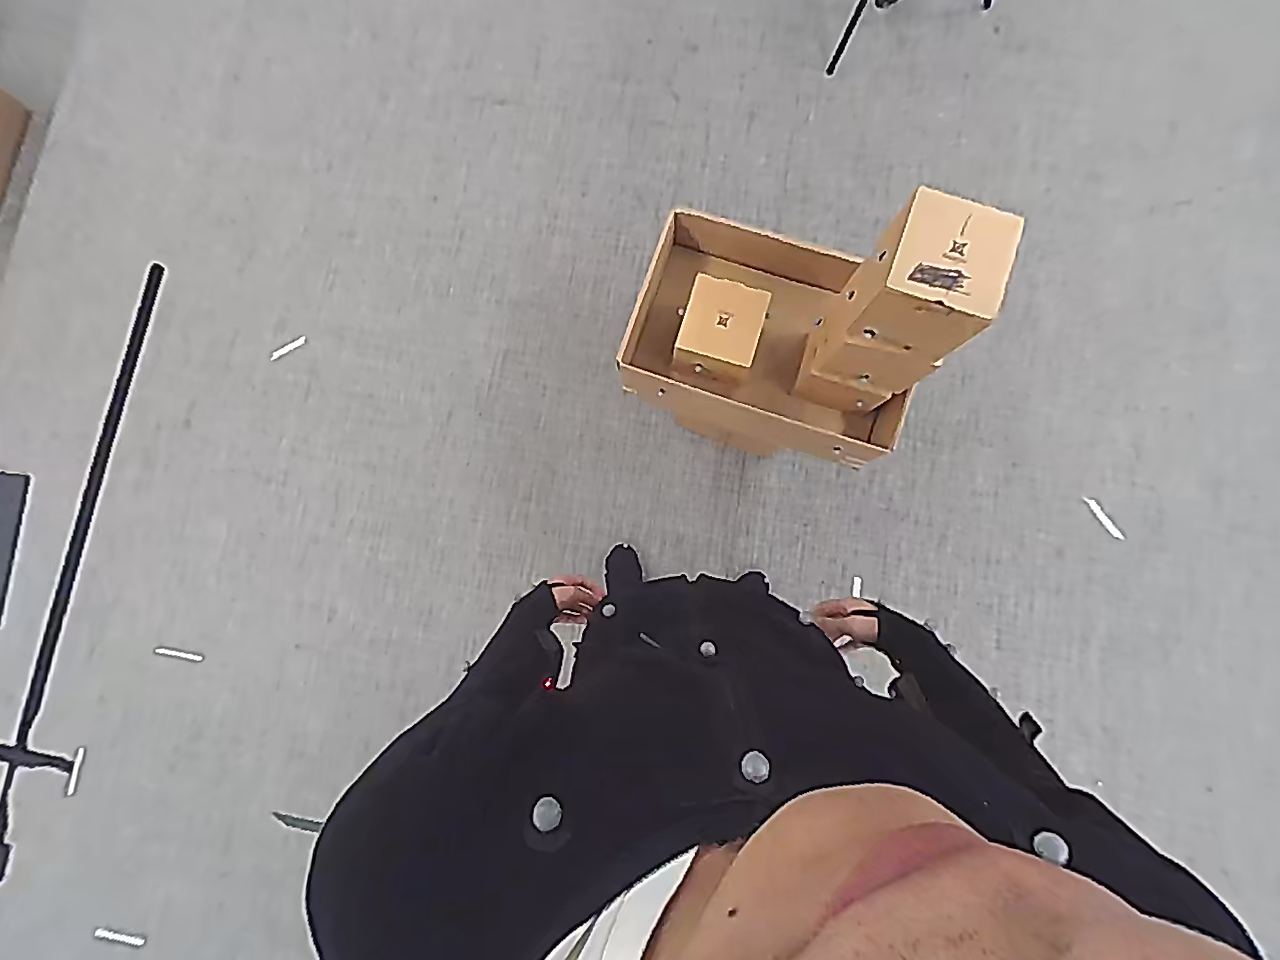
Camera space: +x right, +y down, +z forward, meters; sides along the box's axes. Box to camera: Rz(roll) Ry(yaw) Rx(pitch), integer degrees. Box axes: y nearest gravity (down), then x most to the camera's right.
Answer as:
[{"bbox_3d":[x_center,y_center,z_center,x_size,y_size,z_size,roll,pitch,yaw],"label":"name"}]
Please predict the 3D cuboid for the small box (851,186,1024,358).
[{"bbox_3d":[0.460,-0.319,0.866,0.168,0.176,0.179,20,83,4],"label":"small box"}]

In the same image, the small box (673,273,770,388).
[{"bbox_3d":[0.174,-0.324,1.209,0.168,0.176,0.179,17,83,3],"label":"small box"}]

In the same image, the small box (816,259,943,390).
[{"bbox_3d":[0.460,-0.283,1.028,0.179,0.176,0.168,16,83,3],"label":"small box"}]
